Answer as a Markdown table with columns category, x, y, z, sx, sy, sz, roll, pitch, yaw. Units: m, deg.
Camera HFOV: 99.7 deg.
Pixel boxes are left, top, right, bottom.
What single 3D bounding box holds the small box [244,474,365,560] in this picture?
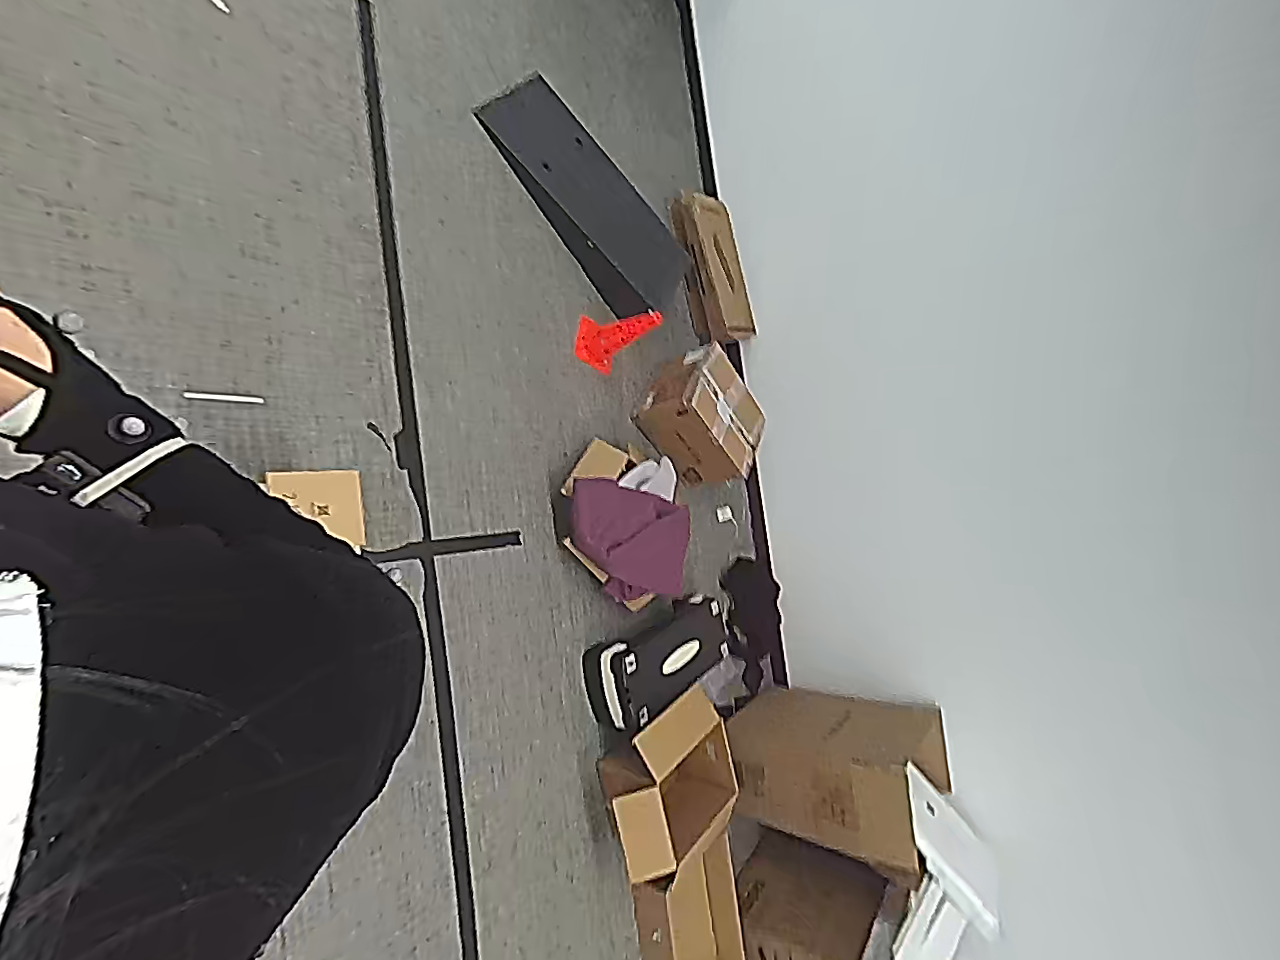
| category | x | y | z | sx | sy | sz | roll | pitch | yaw |
| --- | --- | --- | --- | --- | --- | --- | --- | --- | --- |
| small box | -0.720 | 0.077 | 1.160 | 0.179 | 0.176 | 0.168 | -3 | 84 | -49 |
